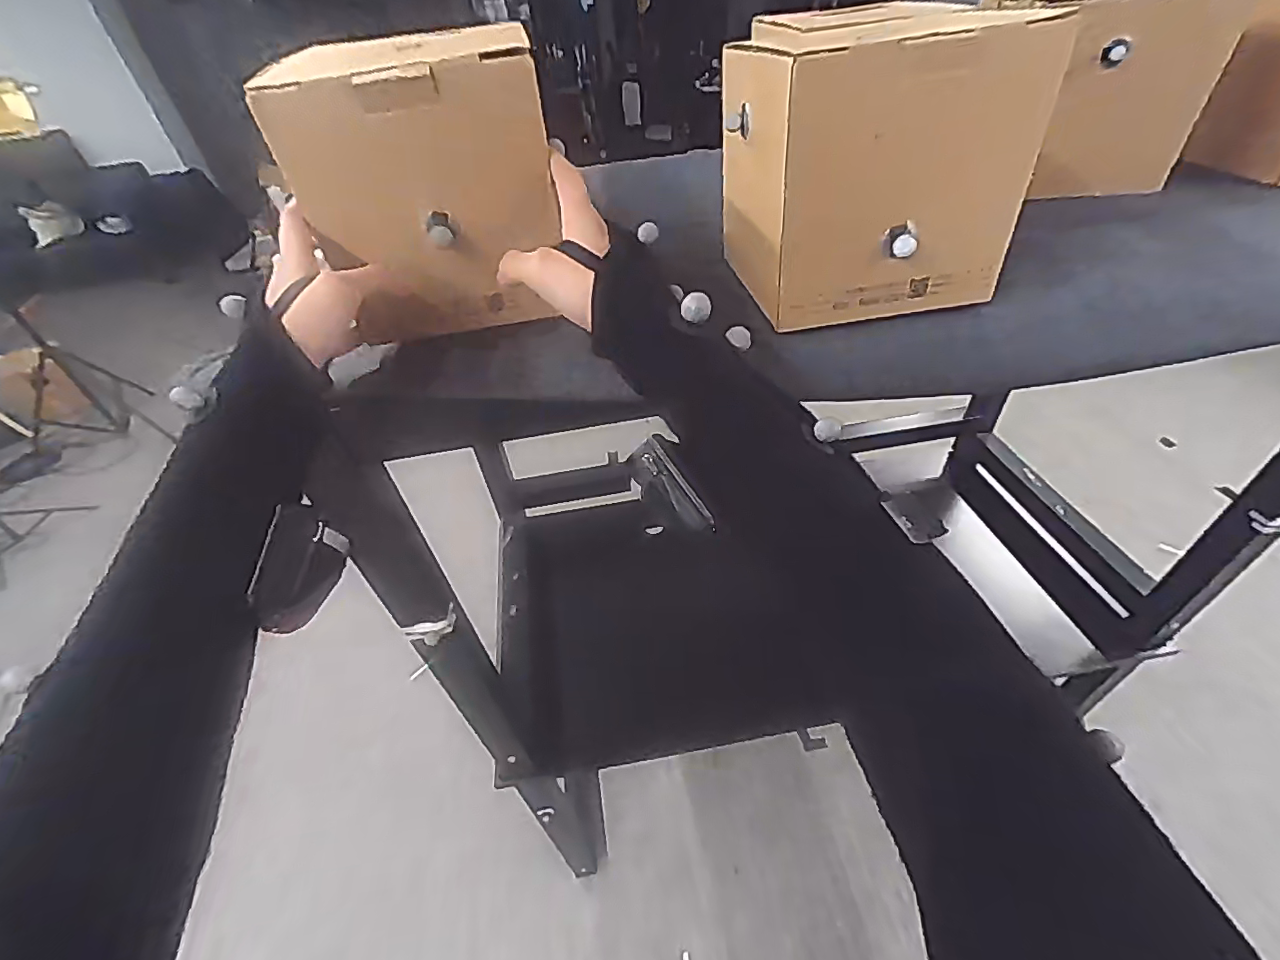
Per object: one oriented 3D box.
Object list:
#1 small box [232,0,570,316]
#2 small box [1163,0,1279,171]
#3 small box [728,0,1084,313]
[{"bbox_3d":[-0.153,-0.239,0.414,0.168,0.176,0.179,-11,47,-5],"label":"small box"},{"bbox_3d":[0.704,-0.425,0.542,0.168,0.176,0.179,-6,43,1],"label":"small box"},{"bbox_3d":[0.163,-0.245,0.408,0.168,0.176,0.179,-9,41,0],"label":"small box"}]
